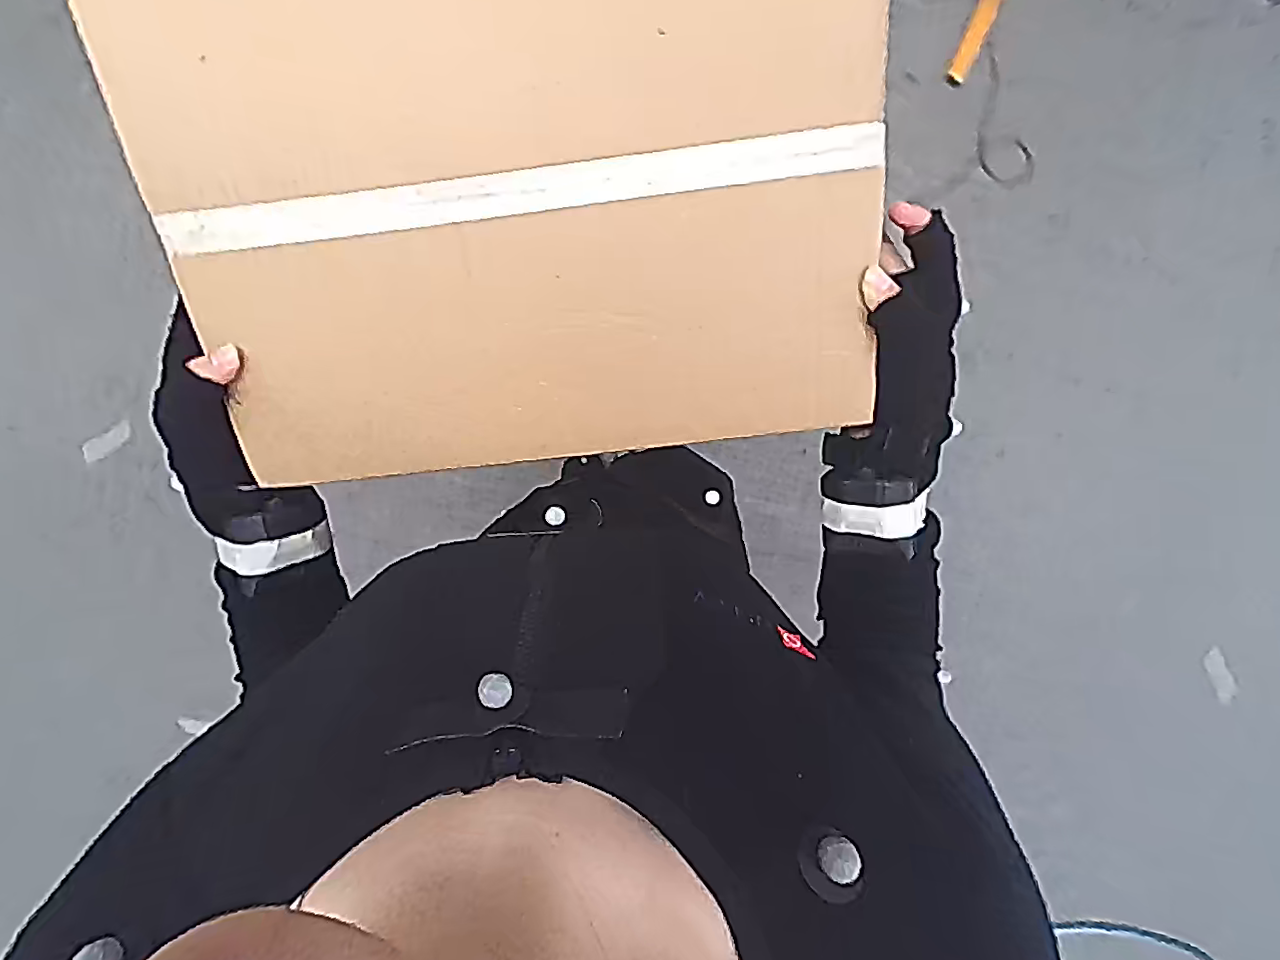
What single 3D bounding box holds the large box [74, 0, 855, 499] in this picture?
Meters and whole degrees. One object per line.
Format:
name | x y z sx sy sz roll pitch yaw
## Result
large box | -0.075 -0.208 0.452 0.408 0.320 0.320 -8 110 2
